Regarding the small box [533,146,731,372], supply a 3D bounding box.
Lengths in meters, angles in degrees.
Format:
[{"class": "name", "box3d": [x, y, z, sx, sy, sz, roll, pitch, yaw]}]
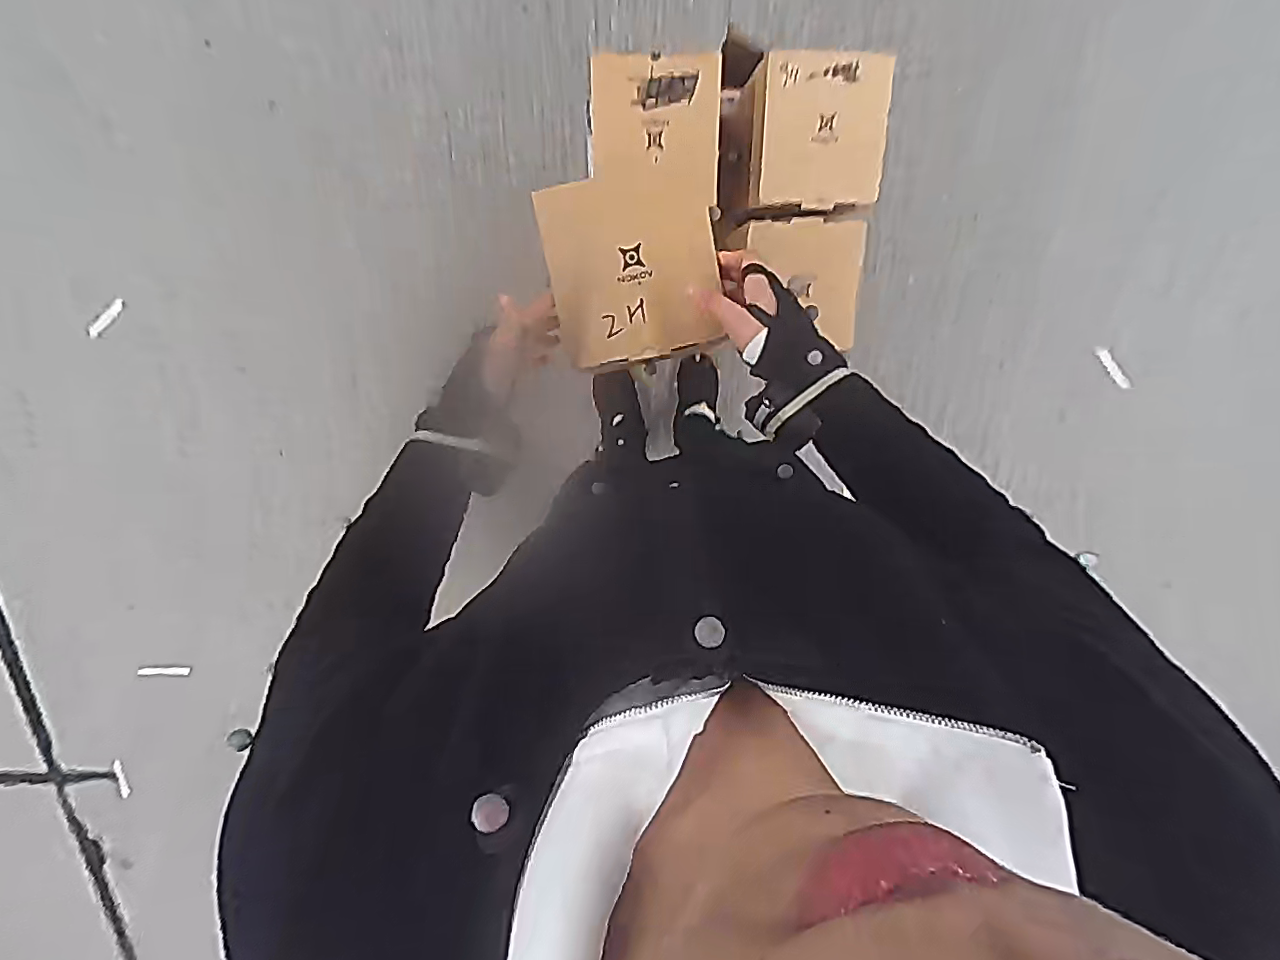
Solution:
[{"class": "small box", "box3d": [-0.005, -0.222, 0.593, 0.168, 0.176, 0.179, -11, 99, 4]}]
